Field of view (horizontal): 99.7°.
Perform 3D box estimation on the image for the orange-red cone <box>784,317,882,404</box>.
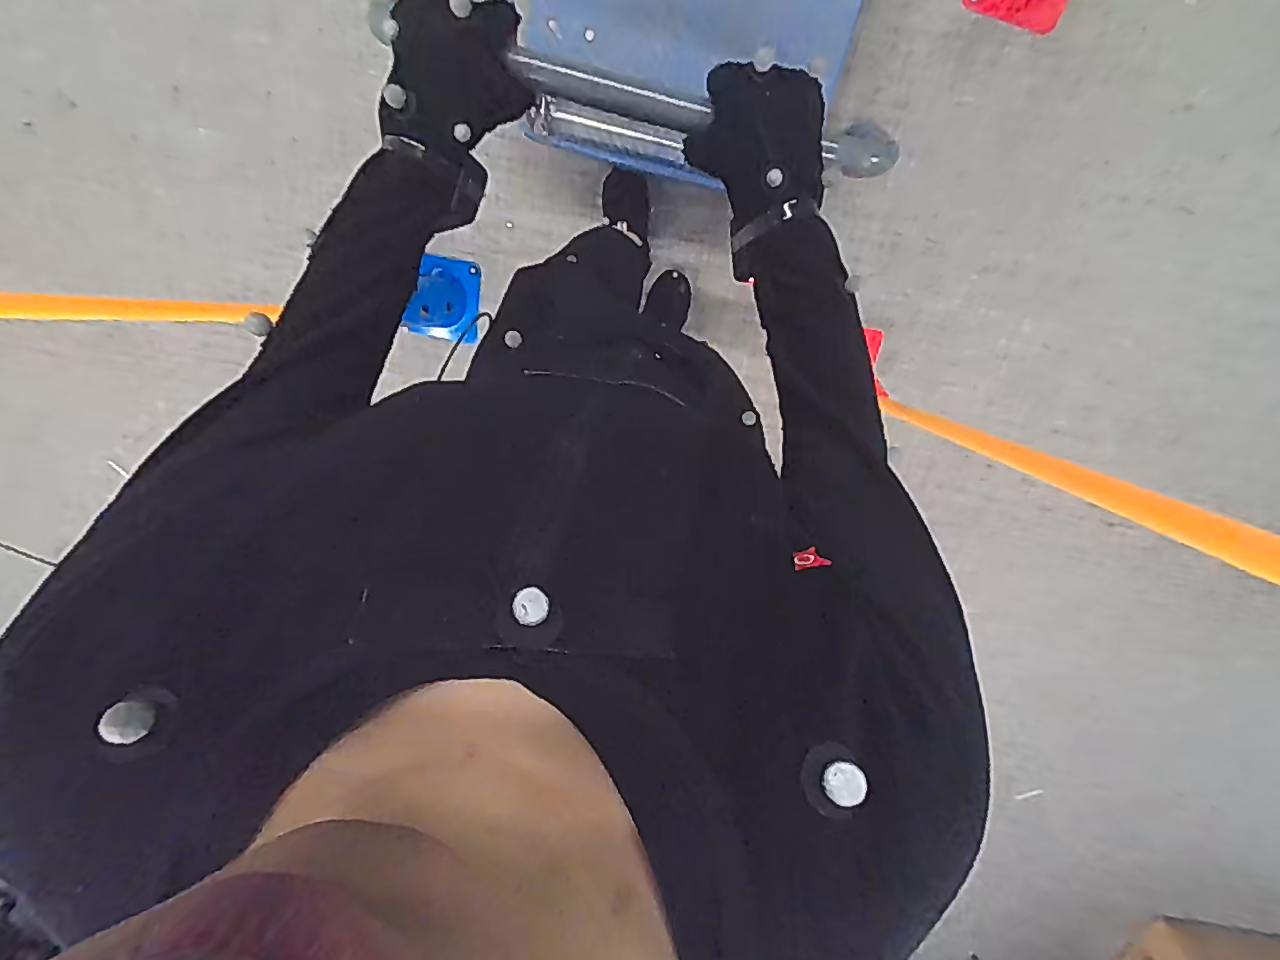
[{"bbox_3d":[0.468,-0.234,1.219,0.199,0.360,0.198,12,113,1],"label":"orange-red cone"}]
